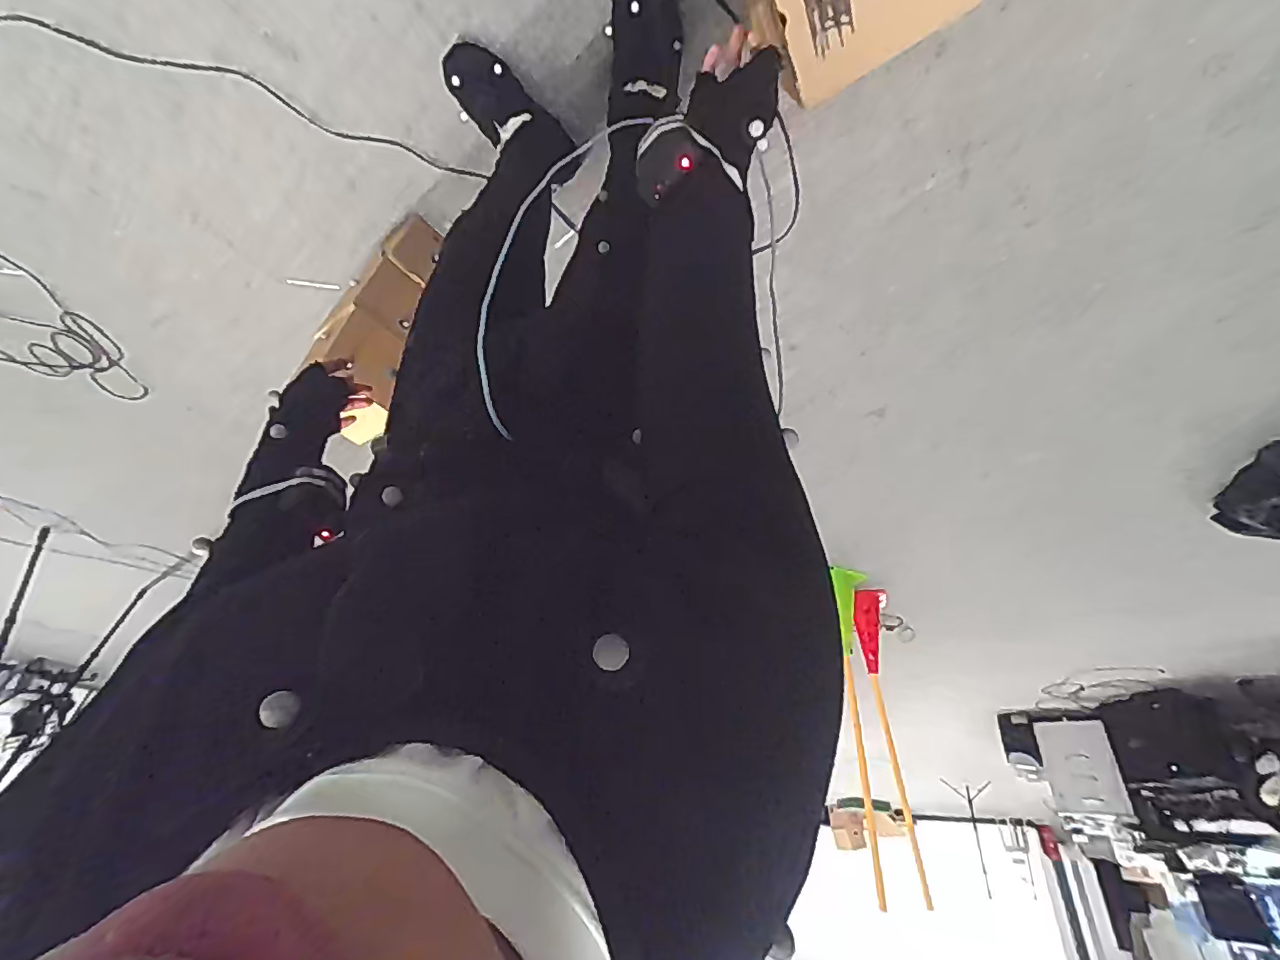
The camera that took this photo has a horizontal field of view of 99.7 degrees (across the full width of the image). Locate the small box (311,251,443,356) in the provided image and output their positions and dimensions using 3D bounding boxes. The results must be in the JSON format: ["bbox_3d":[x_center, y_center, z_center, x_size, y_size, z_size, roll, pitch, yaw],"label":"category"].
[{"bbox_3d":[-0.569,-0.361,1.191,0.168,0.176,0.179,-18,137,32],"label":"small box"}]

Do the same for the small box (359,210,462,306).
[{"bbox_3d":[-0.545,-0.497,1.281,0.179,0.176,0.168,-19,137,32],"label":"small box"}]

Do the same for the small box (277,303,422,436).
[{"bbox_3d":[-0.581,-0.223,1.104,0.168,0.176,0.179,-18,137,32],"label":"small box"}]

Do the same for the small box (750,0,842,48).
[{"bbox_3d":[0.188,-0.667,0.626,0.168,0.176,0.179,-18,139,31],"label":"small box"}]
